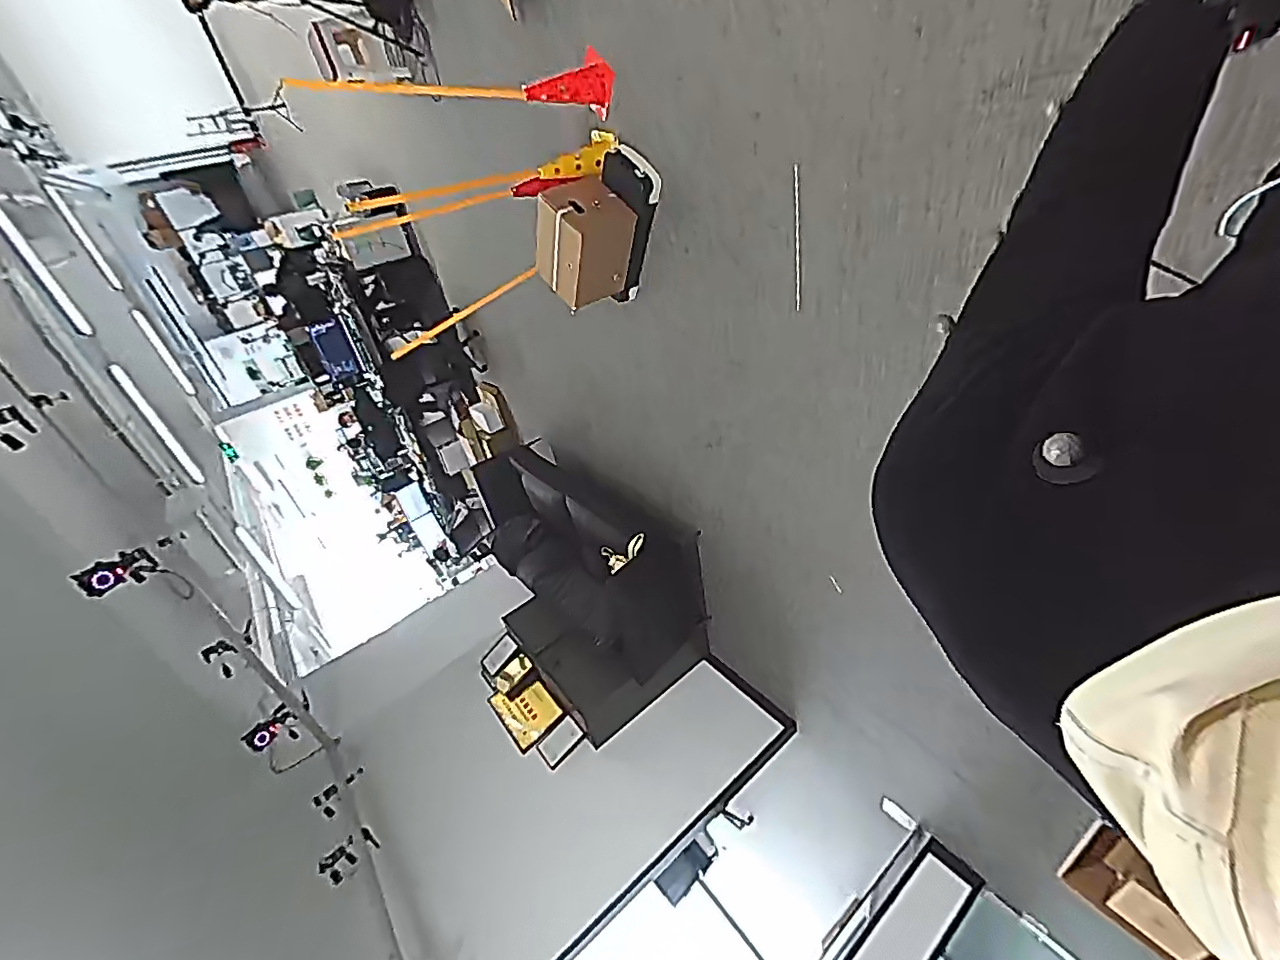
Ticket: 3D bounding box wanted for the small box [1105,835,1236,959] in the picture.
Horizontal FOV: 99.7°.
[{"bbox_3d":[1.315,1.038,1.342,0.168,0.176,0.179,34,143,44],"label":"small box"}]
